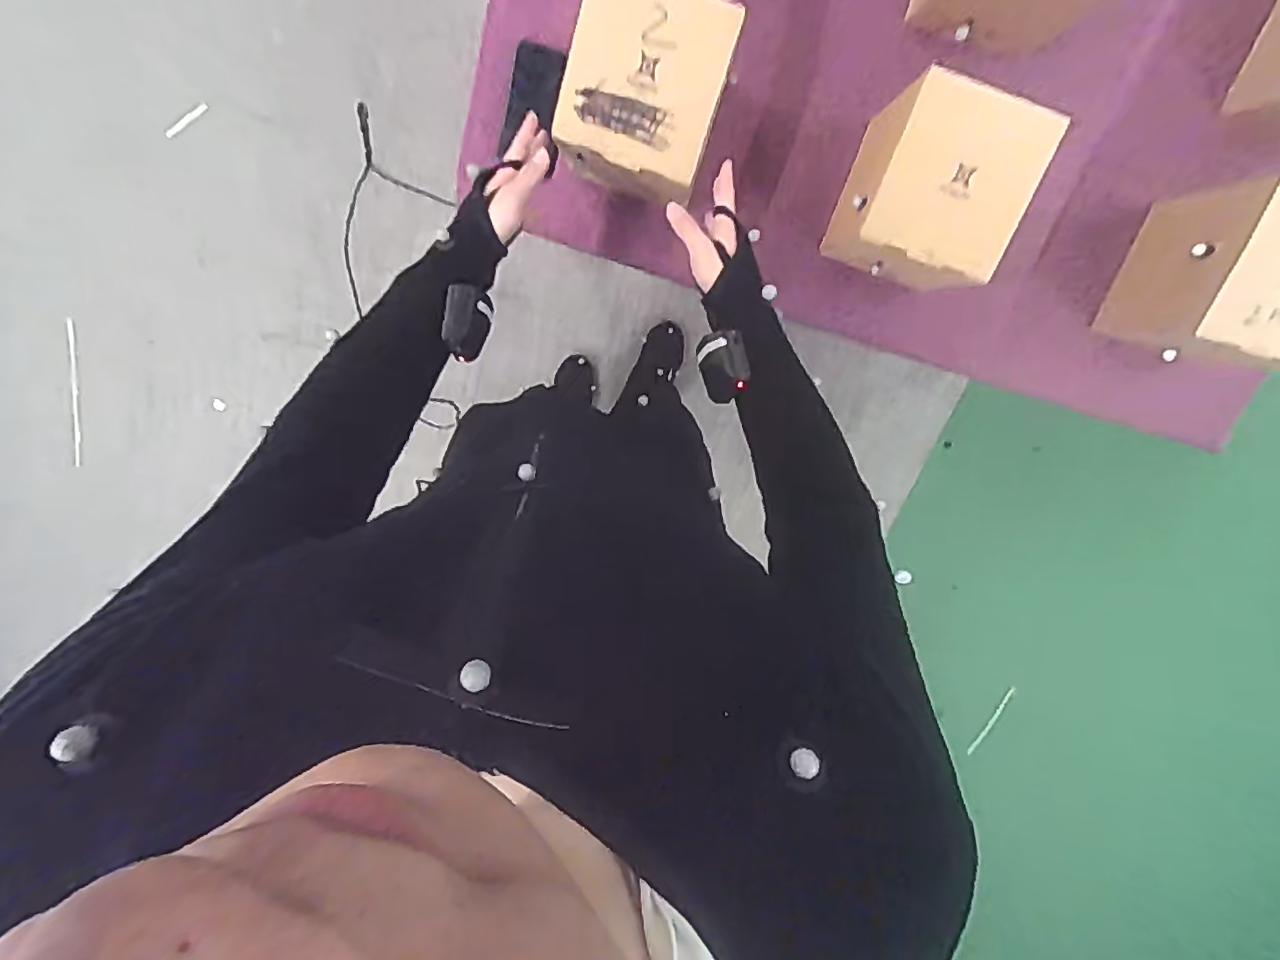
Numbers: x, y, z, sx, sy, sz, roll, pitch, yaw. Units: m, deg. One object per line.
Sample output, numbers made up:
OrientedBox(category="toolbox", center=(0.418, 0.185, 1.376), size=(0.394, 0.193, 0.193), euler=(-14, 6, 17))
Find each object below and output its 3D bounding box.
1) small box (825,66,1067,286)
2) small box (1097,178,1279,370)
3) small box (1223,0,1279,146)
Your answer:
OrientedBox(category="small box", center=(0.354, -0.354, 0.670), size=(0.168, 0.176, 0.179), euler=(18, 108, -4))
OrientedBox(category="small box", center=(0.747, -0.250, 0.685), size=(0.168, 0.176, 0.179), euler=(16, 107, -2))
OrientedBox(category="small box", center=(0.838, -0.496, 0.602), size=(0.168, 0.176, 0.179), euler=(15, 108, -2))
